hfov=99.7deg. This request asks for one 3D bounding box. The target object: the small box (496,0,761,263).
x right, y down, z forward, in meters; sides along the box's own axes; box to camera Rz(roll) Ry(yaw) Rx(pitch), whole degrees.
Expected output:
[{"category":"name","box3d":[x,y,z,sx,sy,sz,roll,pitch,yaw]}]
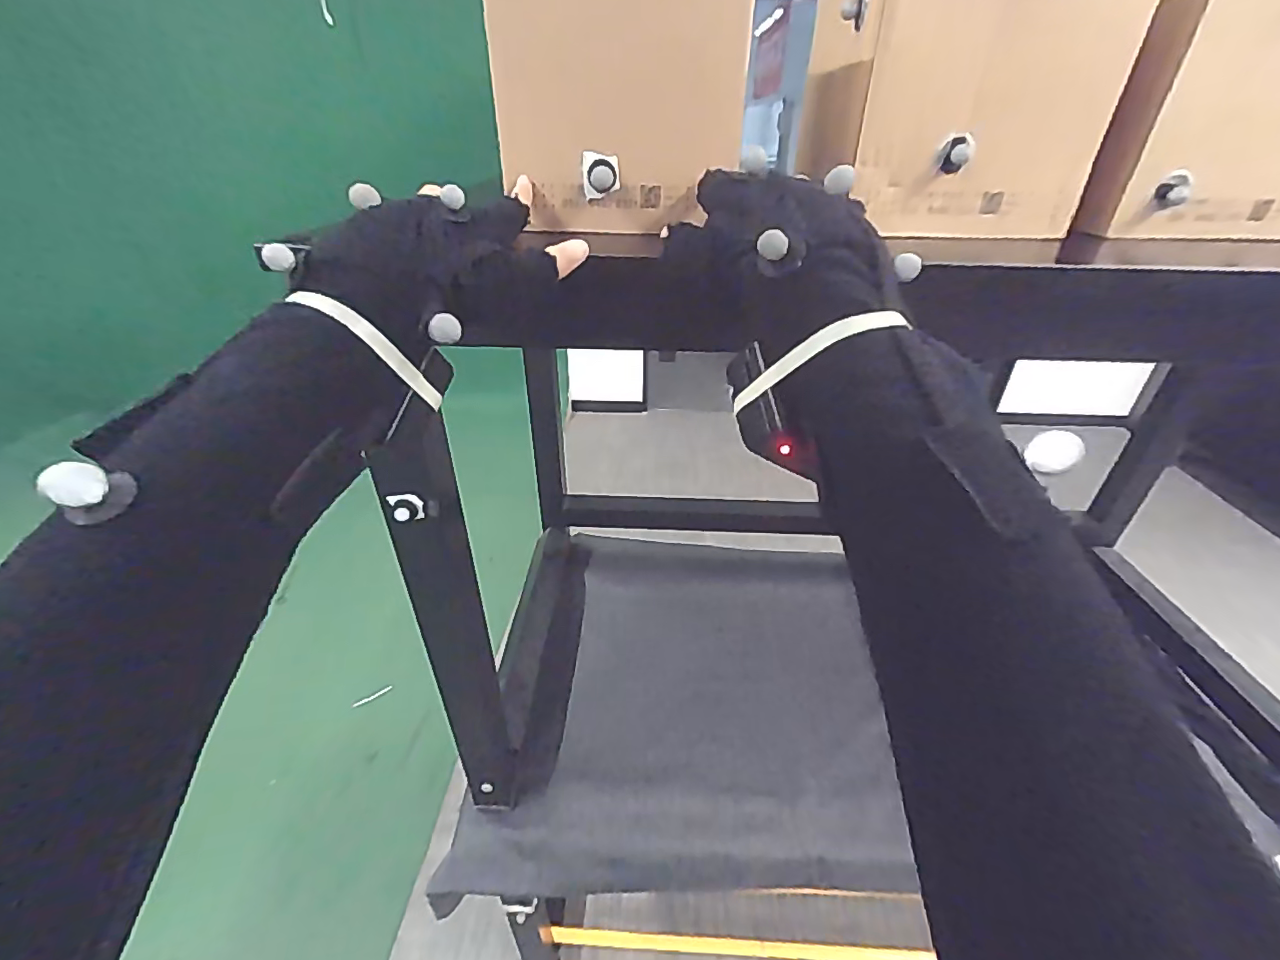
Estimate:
[{"category":"small box","box3d":[-0.008,-0.280,0.429,0.168,0.176,0.179,0,34,1]}]
